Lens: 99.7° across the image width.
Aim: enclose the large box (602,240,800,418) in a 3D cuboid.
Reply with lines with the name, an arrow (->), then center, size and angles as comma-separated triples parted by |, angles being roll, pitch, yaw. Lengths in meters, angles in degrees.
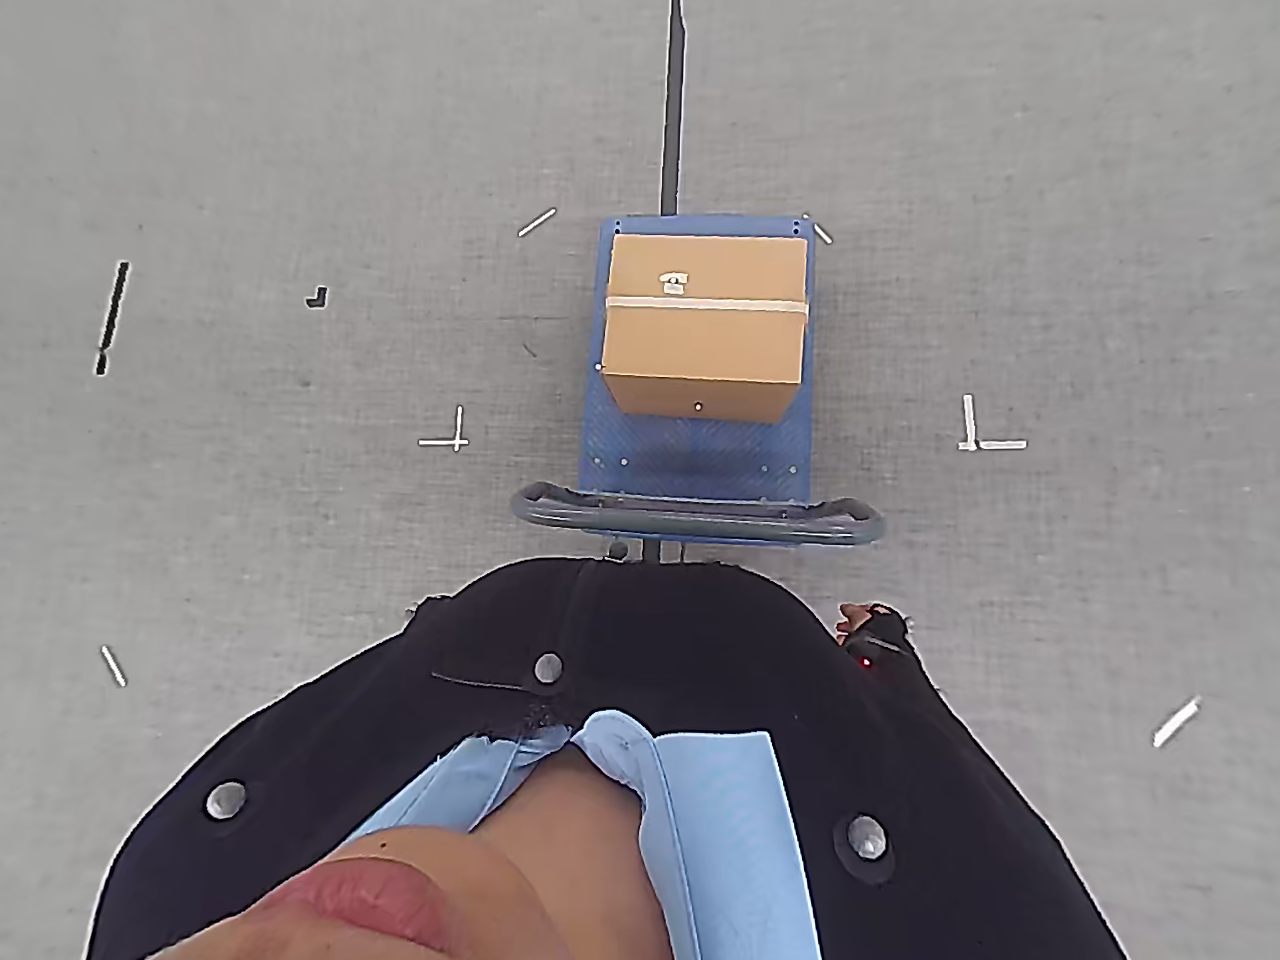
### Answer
large box -> 0.145, -0.334, 1.268 | 0.408, 0.320, 0.320 | 4, 81, 7
